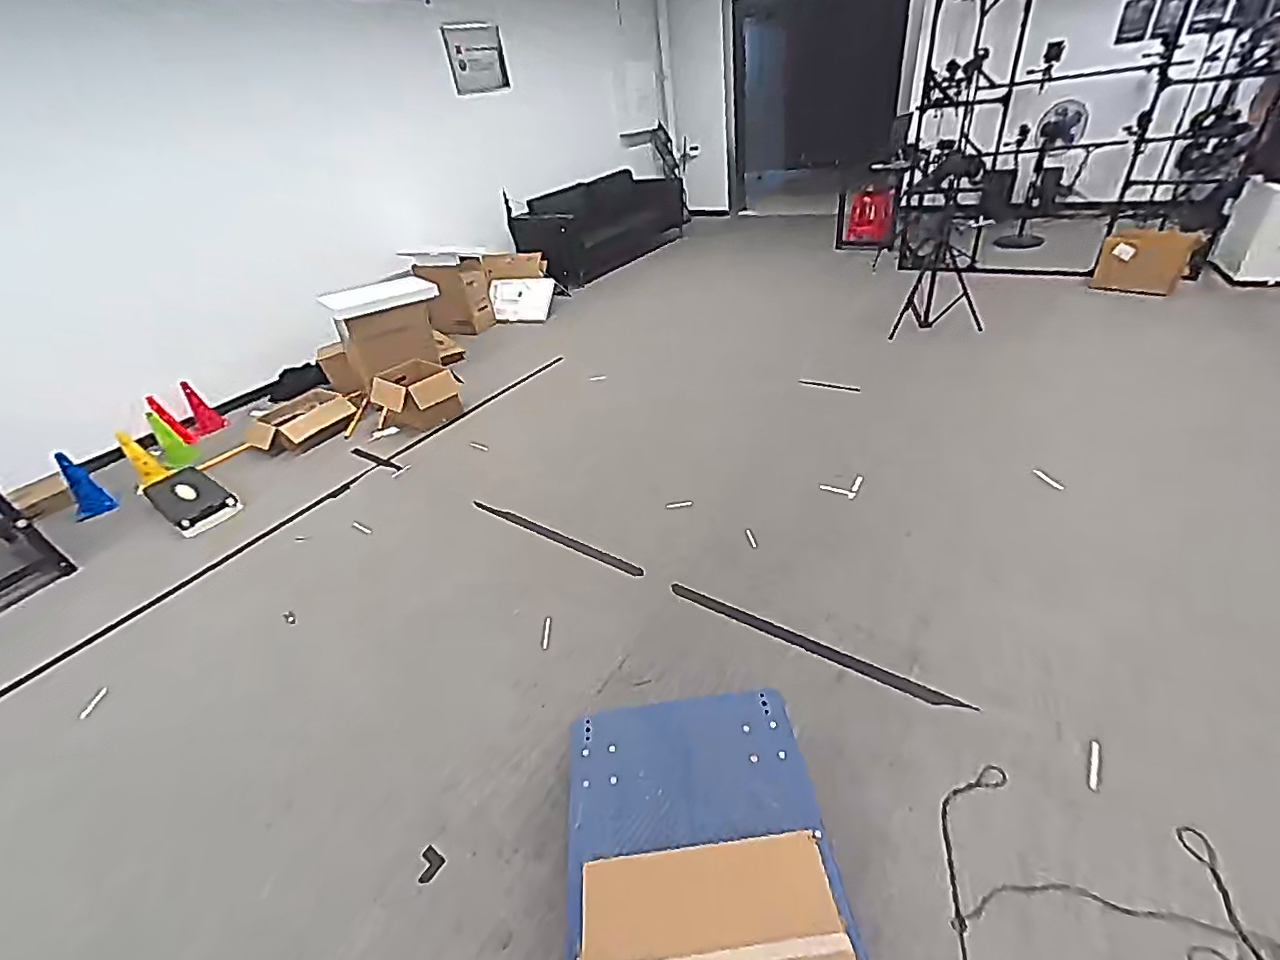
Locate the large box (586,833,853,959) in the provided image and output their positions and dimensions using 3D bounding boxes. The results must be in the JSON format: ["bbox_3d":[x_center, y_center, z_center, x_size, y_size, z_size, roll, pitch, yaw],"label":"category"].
[{"bbox_3d":[0.132,0.849,0.893,0.408,0.320,0.320,-8,35,-1],"label":"large box"}]
